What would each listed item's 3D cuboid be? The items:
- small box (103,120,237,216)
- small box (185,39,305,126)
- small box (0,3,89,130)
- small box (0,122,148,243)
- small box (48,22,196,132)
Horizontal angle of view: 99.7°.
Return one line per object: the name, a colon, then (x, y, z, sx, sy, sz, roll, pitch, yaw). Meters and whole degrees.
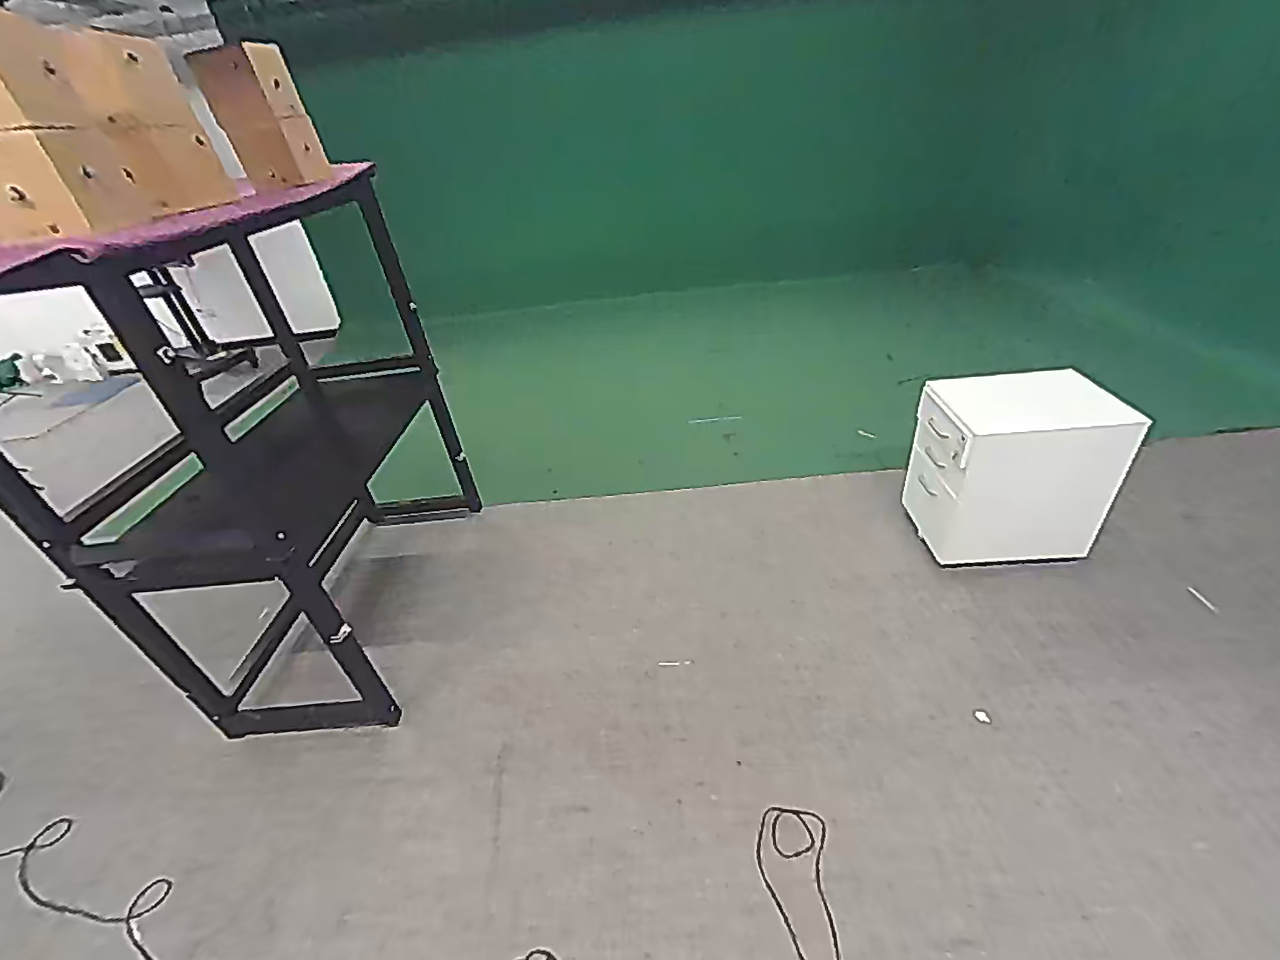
small box: (-1.101, -0.724, 1.262, 0.168, 0.176, 0.179, -6, 34, 6)
small box: (-1.084, -1.105, 1.505, 0.179, 0.176, 0.168, -6, 36, 6)
small box: (-1.091, -0.675, 0.898, 0.168, 0.176, 0.179, -13, 35, -6)
small box: (-1.072, -0.542, 0.991, 0.168, 0.176, 0.179, -10, 35, -4)
small box: (-1.129, -0.857, 1.170, 0.168, 0.176, 0.179, -6, 33, 6)
